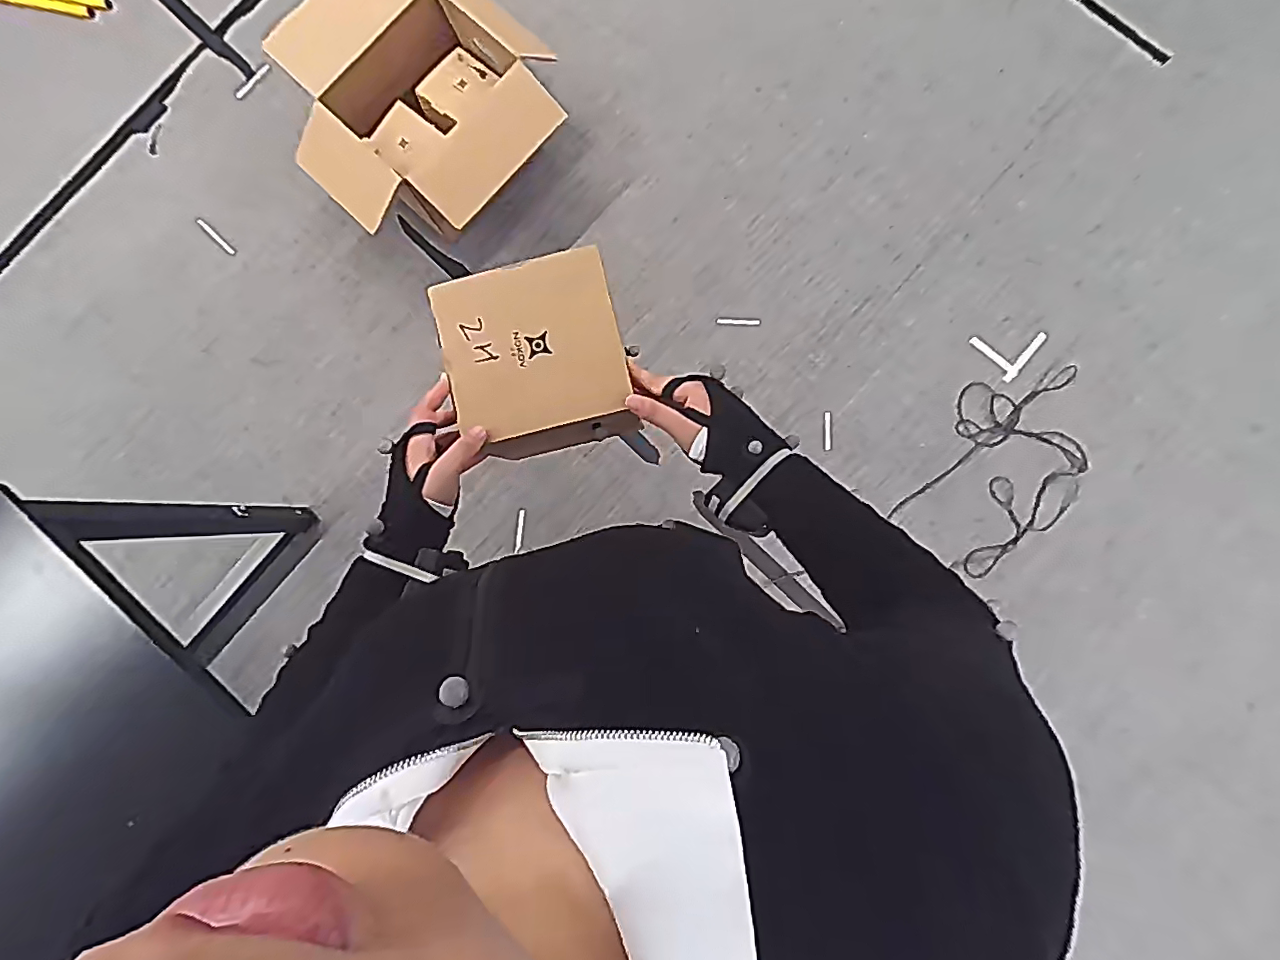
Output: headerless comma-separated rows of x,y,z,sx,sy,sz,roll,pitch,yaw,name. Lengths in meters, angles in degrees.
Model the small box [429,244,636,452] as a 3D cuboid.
-0.104,-0.132,0.607,0.179,0.176,0.168,-14,88,3,small box
